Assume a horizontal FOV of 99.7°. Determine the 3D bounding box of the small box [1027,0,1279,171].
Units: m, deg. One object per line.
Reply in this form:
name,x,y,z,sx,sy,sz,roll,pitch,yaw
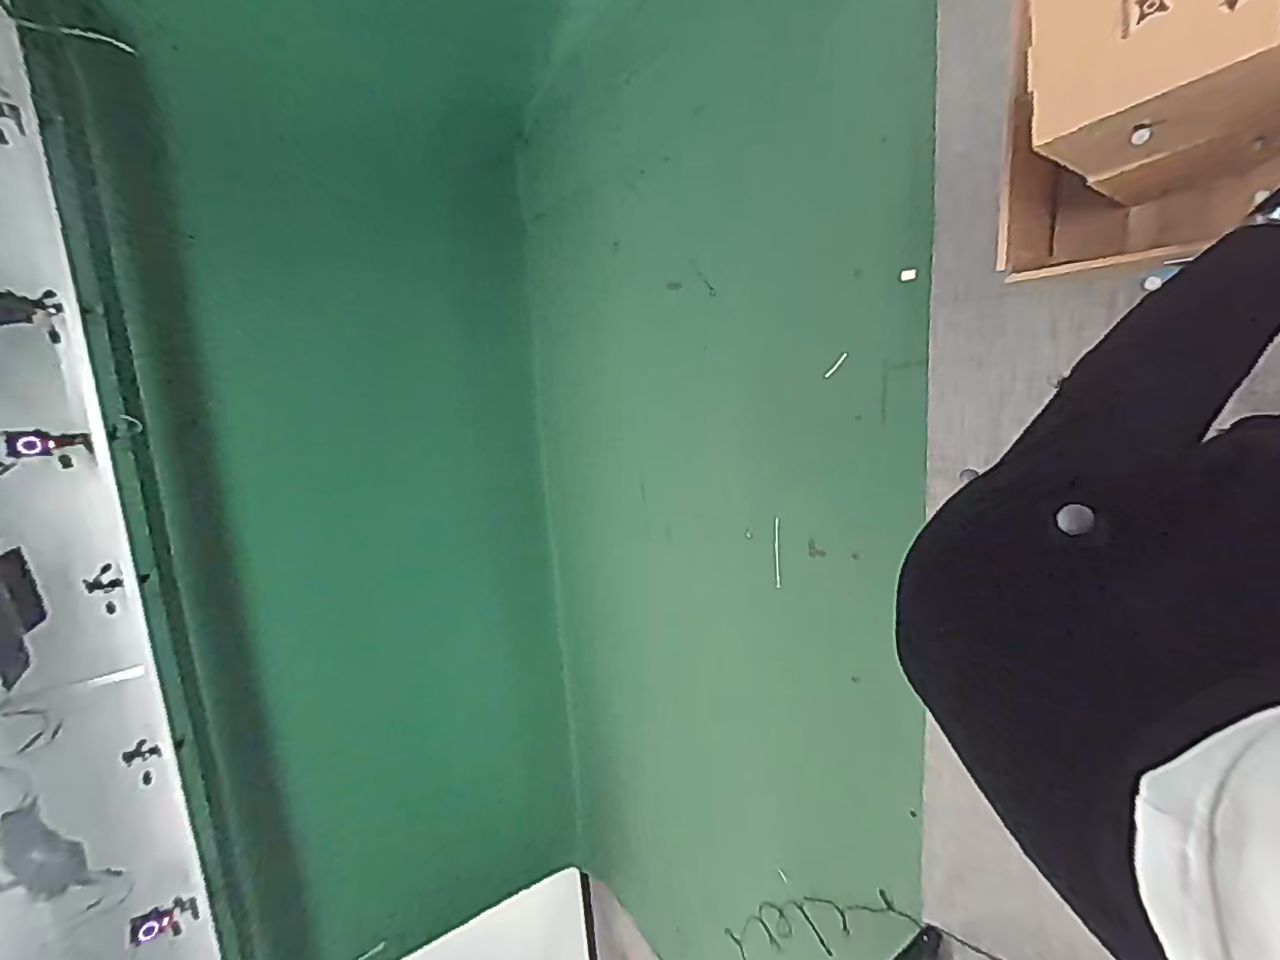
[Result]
small box,0.527,-0.441,0.544,0.179,0.176,0.168,2,99,57
